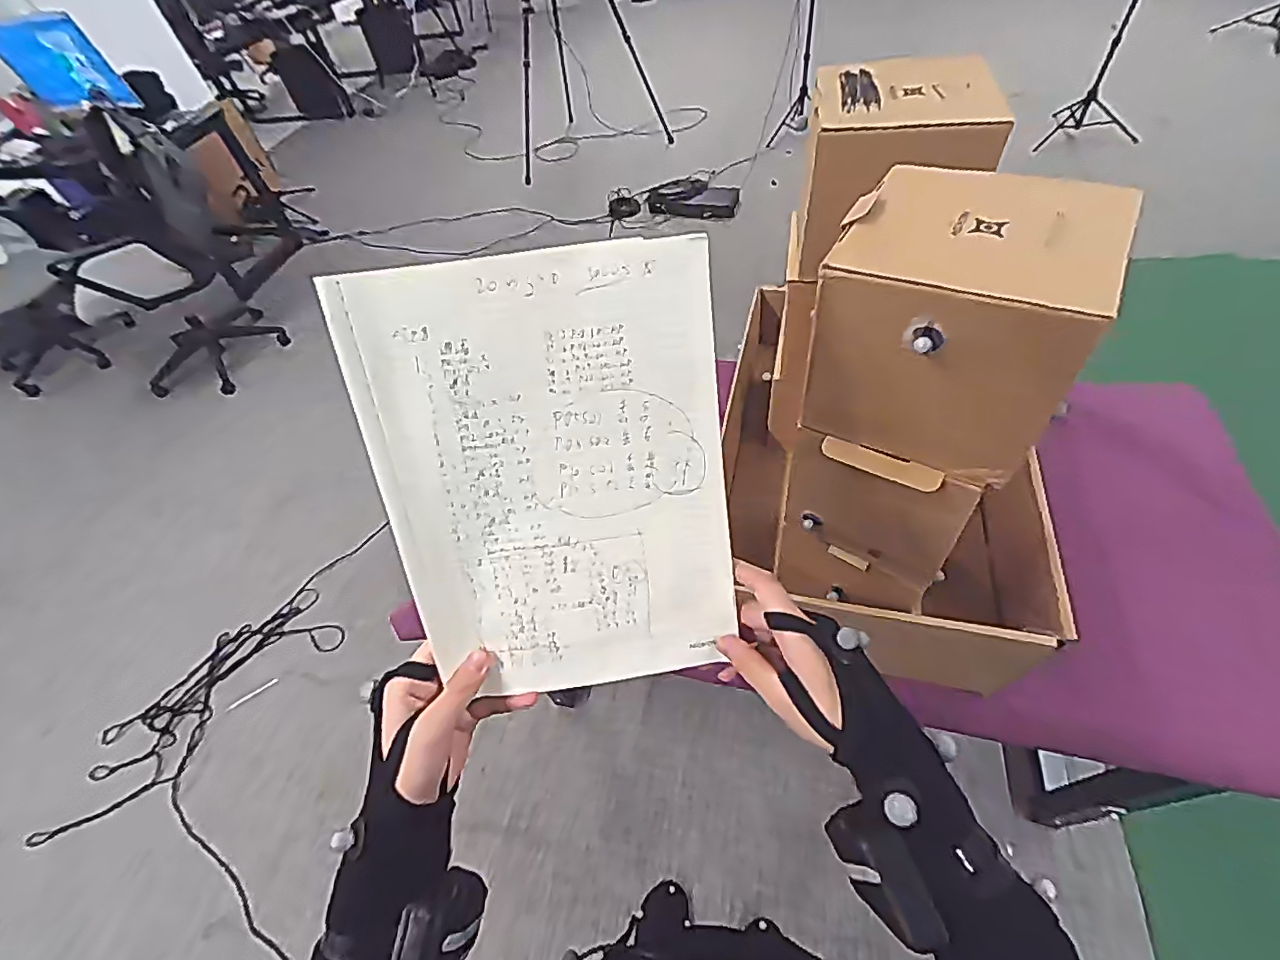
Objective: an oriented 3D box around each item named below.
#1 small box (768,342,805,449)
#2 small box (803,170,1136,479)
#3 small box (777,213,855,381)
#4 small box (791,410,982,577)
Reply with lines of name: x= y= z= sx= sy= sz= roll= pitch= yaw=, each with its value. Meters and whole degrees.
small box: x=0.303 y=-0.155 z=0.882 sx=0.168 sy=0.176 sz=0.179 roll=8 pitch=56 yaw=14
small box: x=0.250 y=-0.127 z=0.446 sx=0.179 sy=0.176 sz=0.168 roll=23 pitch=59 yaw=26
small box: x=0.287 y=-0.248 z=0.751 sx=0.179 sy=0.176 sz=0.168 roll=5 pitch=55 yaw=13
small box: x=0.271 y=-0.029 z=0.574 sx=0.168 sy=0.176 sz=0.179 roll=25 pitch=59 yaw=27
